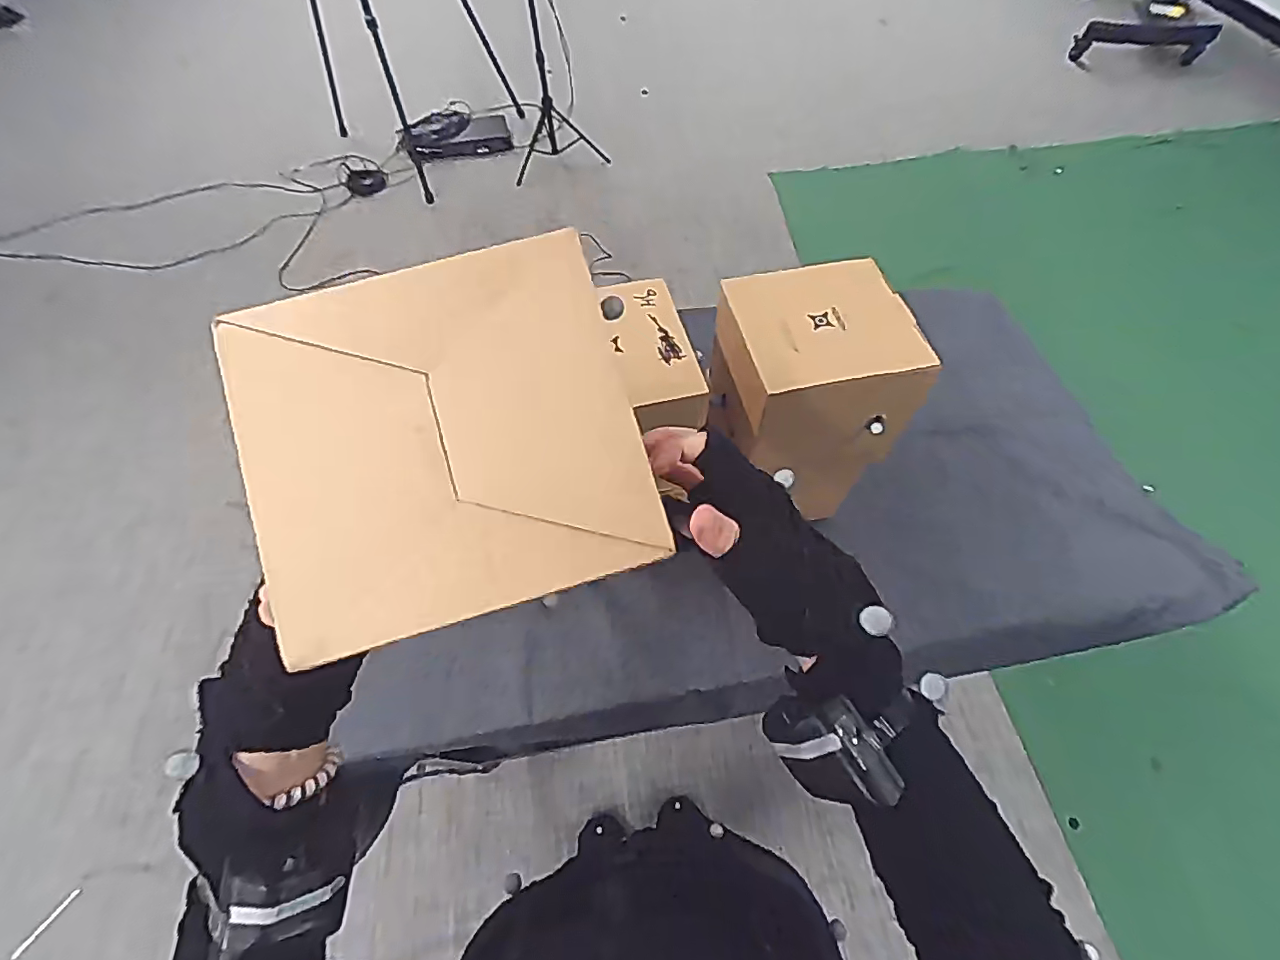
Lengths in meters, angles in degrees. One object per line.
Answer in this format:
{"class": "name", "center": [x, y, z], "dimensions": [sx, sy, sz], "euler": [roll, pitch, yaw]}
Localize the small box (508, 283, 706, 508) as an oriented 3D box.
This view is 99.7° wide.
{"class": "small box", "center": [-0.034, -0.087, 0.610], "dimensions": [0.179, 0.176, 0.168], "euler": [-14, 61, -5]}
